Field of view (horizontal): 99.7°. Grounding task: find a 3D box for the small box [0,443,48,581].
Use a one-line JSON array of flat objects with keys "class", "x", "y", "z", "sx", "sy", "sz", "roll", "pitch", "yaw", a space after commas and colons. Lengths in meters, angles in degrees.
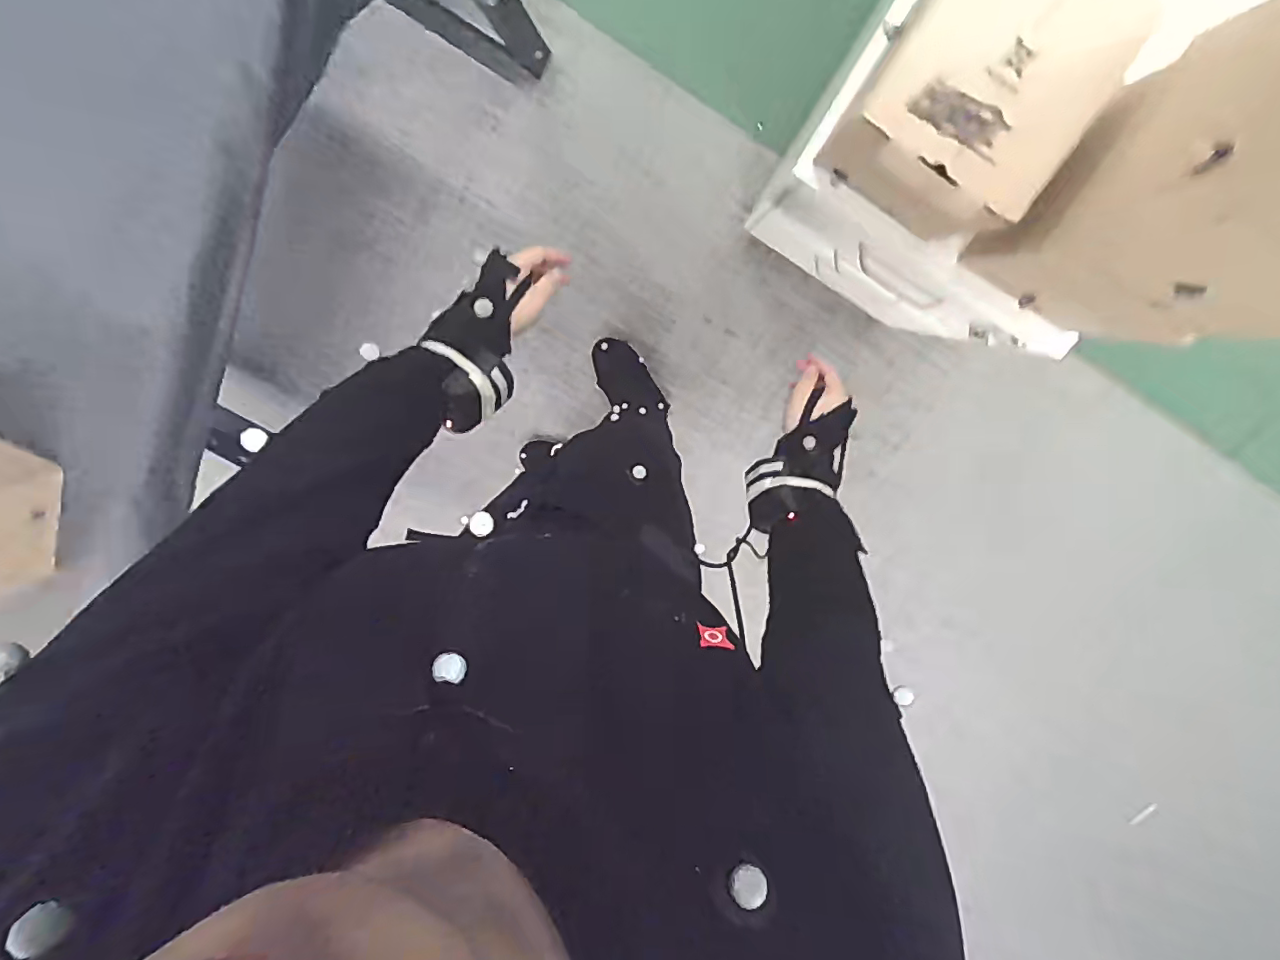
[{"class": "small box", "x": -0.810, "y": 0.037, "z": 0.582, "sx": 0.179, "sy": 0.176, "sz": 0.168, "roll": 26, "pitch": 109, "yaw": -5}]
